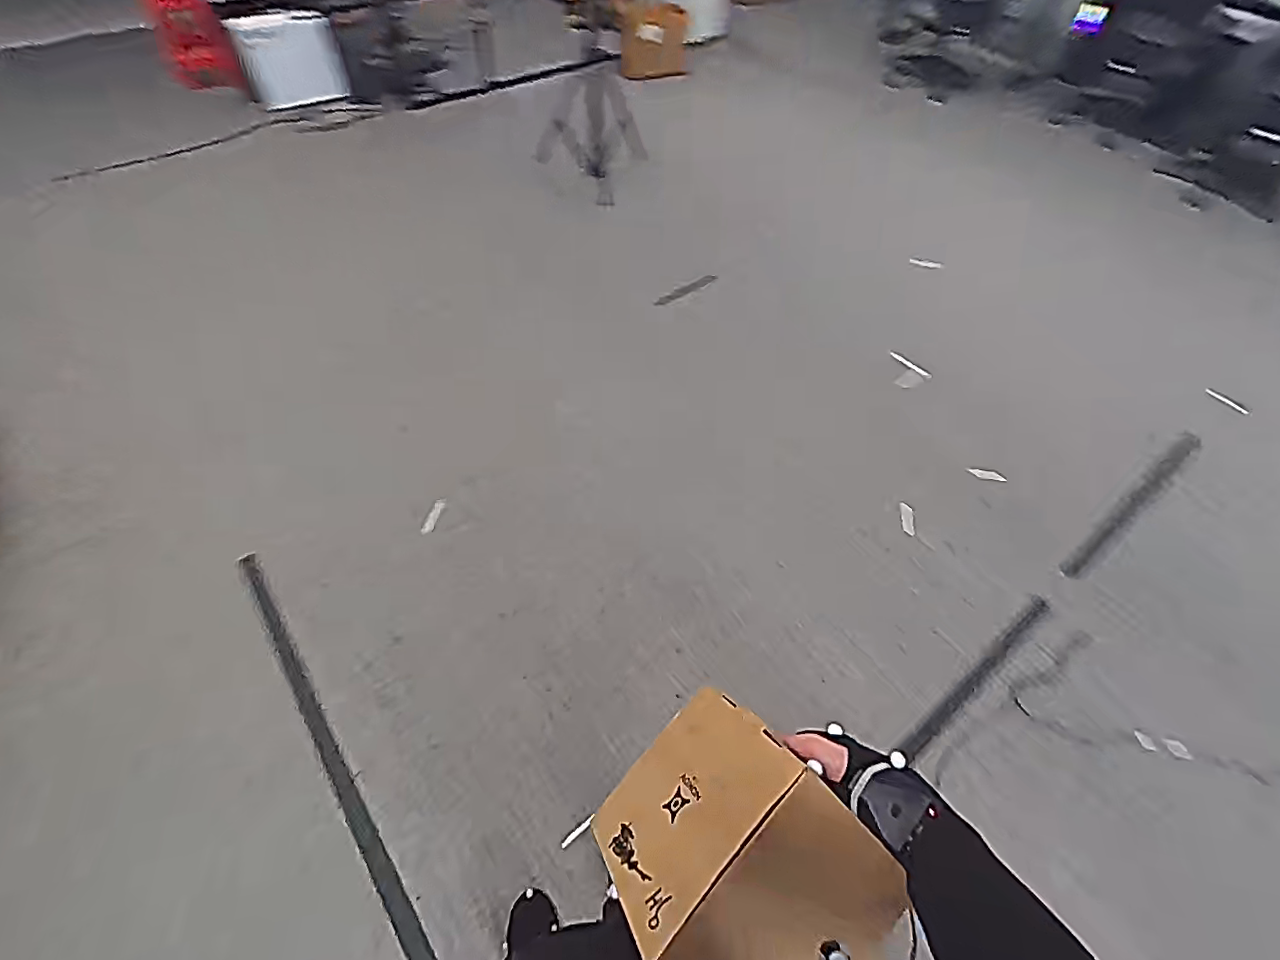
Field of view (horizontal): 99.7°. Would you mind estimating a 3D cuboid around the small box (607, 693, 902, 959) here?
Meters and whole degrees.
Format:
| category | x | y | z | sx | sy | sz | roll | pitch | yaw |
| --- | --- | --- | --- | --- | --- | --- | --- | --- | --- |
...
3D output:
| category | x | y | z | sx | sy | sz | roll | pitch | yaw |
| --- | --- | --- | --- | --- | --- | --- | --- | --- | --- |
| small box | 0.103 | 0.343 | 0.494 | 0.179 | 0.168 | 0.176 | -43 | 103 | -12 |
